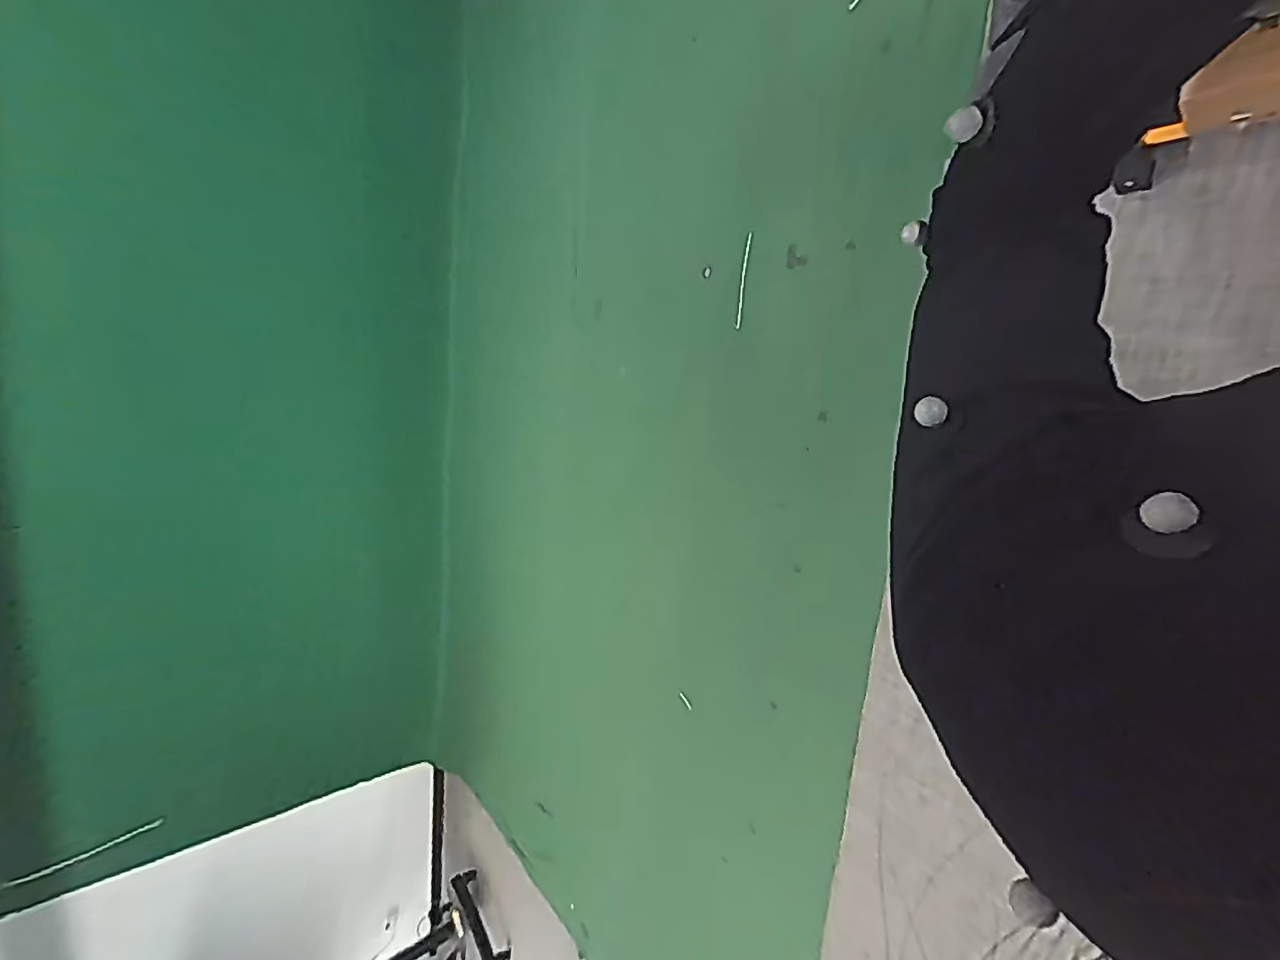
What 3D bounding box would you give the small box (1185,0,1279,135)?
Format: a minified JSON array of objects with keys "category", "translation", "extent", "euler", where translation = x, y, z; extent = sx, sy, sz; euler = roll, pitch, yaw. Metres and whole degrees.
[{"category":"small box","translation":[1.002,-0.688,0.856],"extent":[0.168,0.176,0.179],"euler":[15,105,48]}]
